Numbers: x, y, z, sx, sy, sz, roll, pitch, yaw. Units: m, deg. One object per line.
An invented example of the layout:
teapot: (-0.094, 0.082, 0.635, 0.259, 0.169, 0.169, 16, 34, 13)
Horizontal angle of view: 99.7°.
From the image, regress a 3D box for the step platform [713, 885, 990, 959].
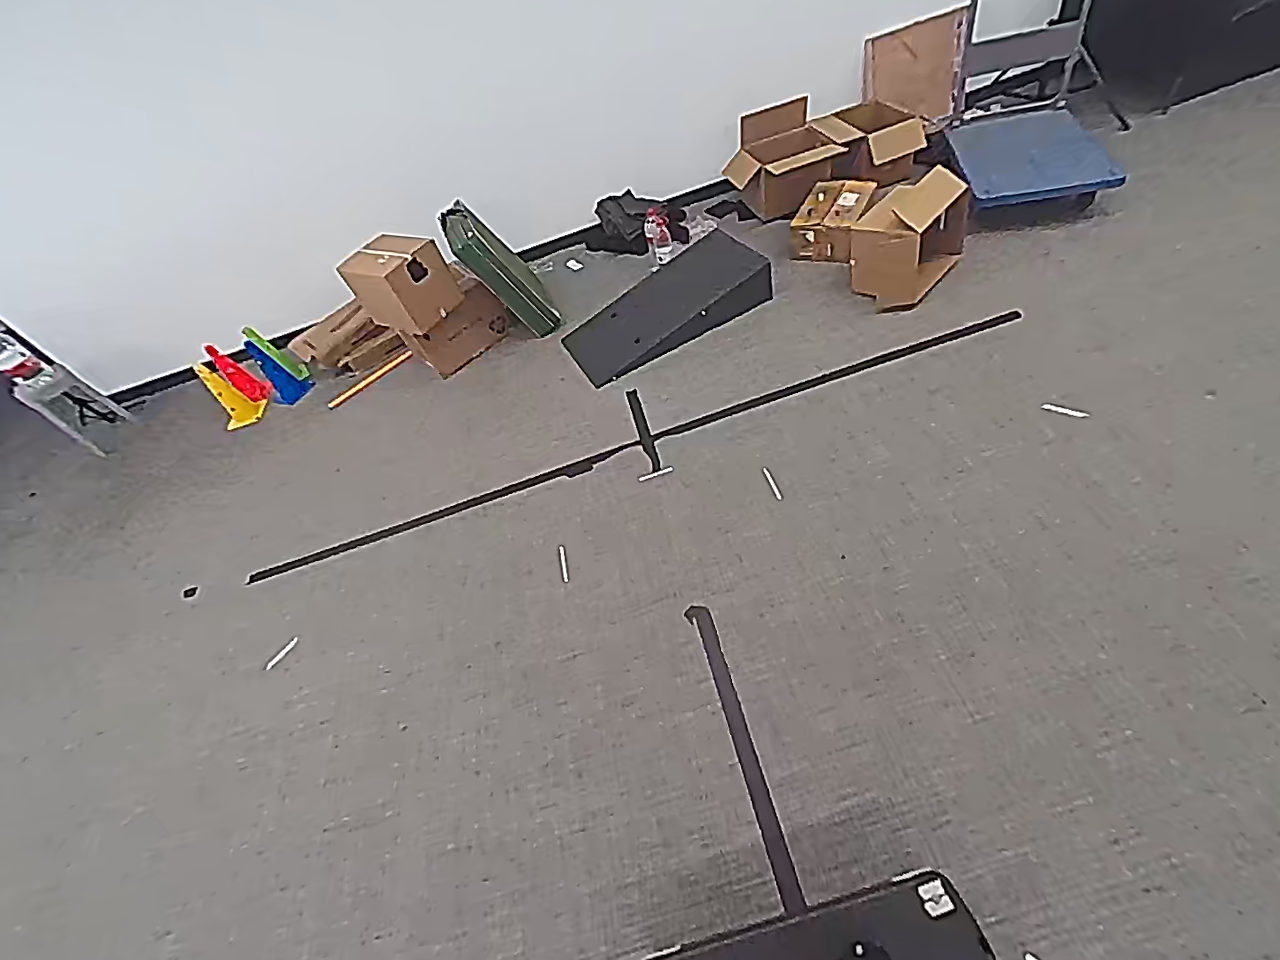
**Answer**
step platform: (0.336, 1.028, 1.015, 0.684, 0.204, 0.286, -19, 49, 0)
